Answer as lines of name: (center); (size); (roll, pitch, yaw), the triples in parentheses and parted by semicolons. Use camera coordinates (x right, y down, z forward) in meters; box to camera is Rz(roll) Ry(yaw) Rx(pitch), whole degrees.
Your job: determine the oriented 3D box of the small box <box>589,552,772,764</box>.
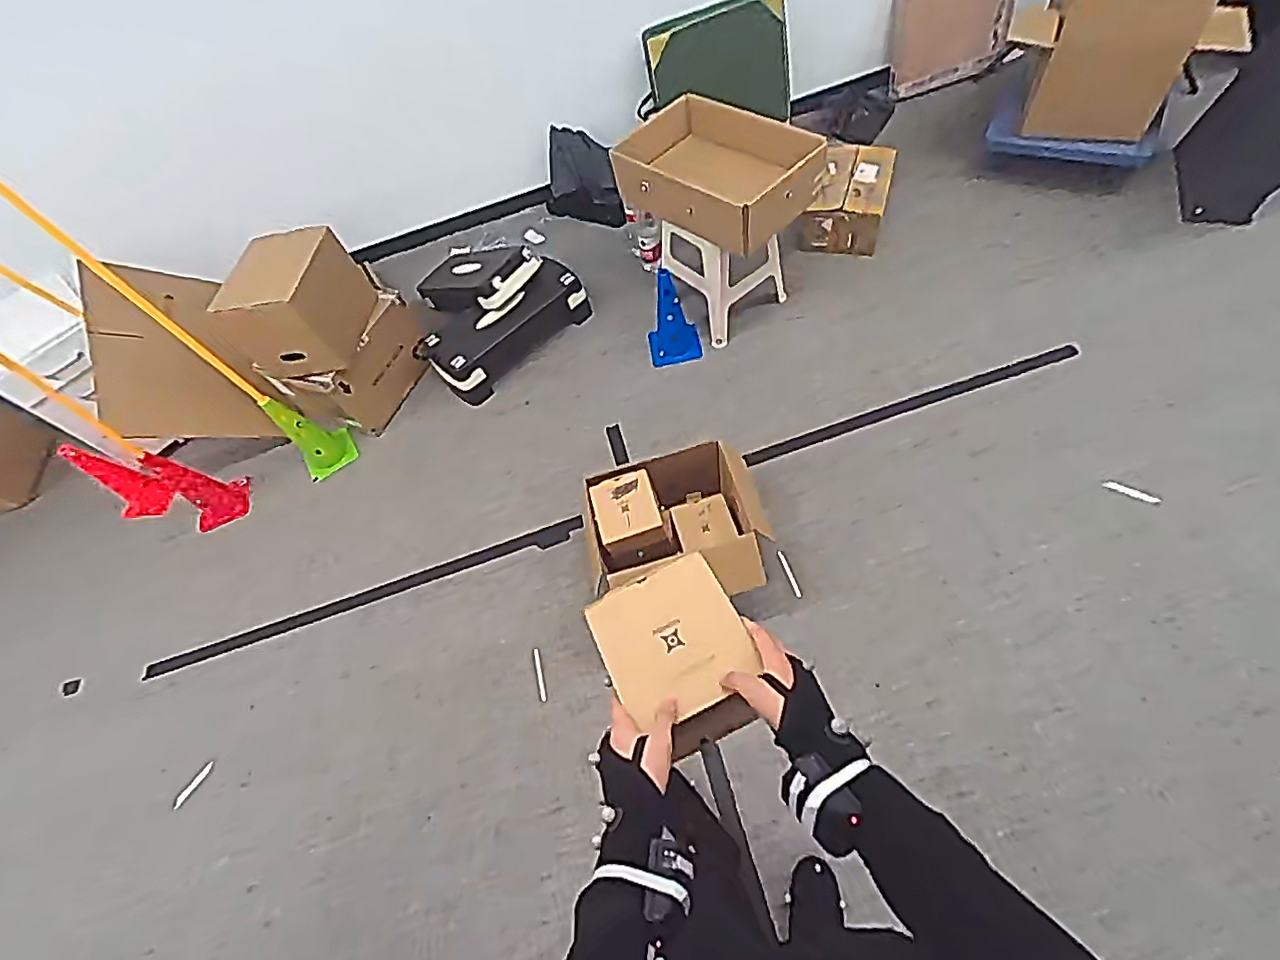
small box: (0.053, 0.231, 0.696); (0.168, 0.176, 0.179); (-25, 51, -6)
